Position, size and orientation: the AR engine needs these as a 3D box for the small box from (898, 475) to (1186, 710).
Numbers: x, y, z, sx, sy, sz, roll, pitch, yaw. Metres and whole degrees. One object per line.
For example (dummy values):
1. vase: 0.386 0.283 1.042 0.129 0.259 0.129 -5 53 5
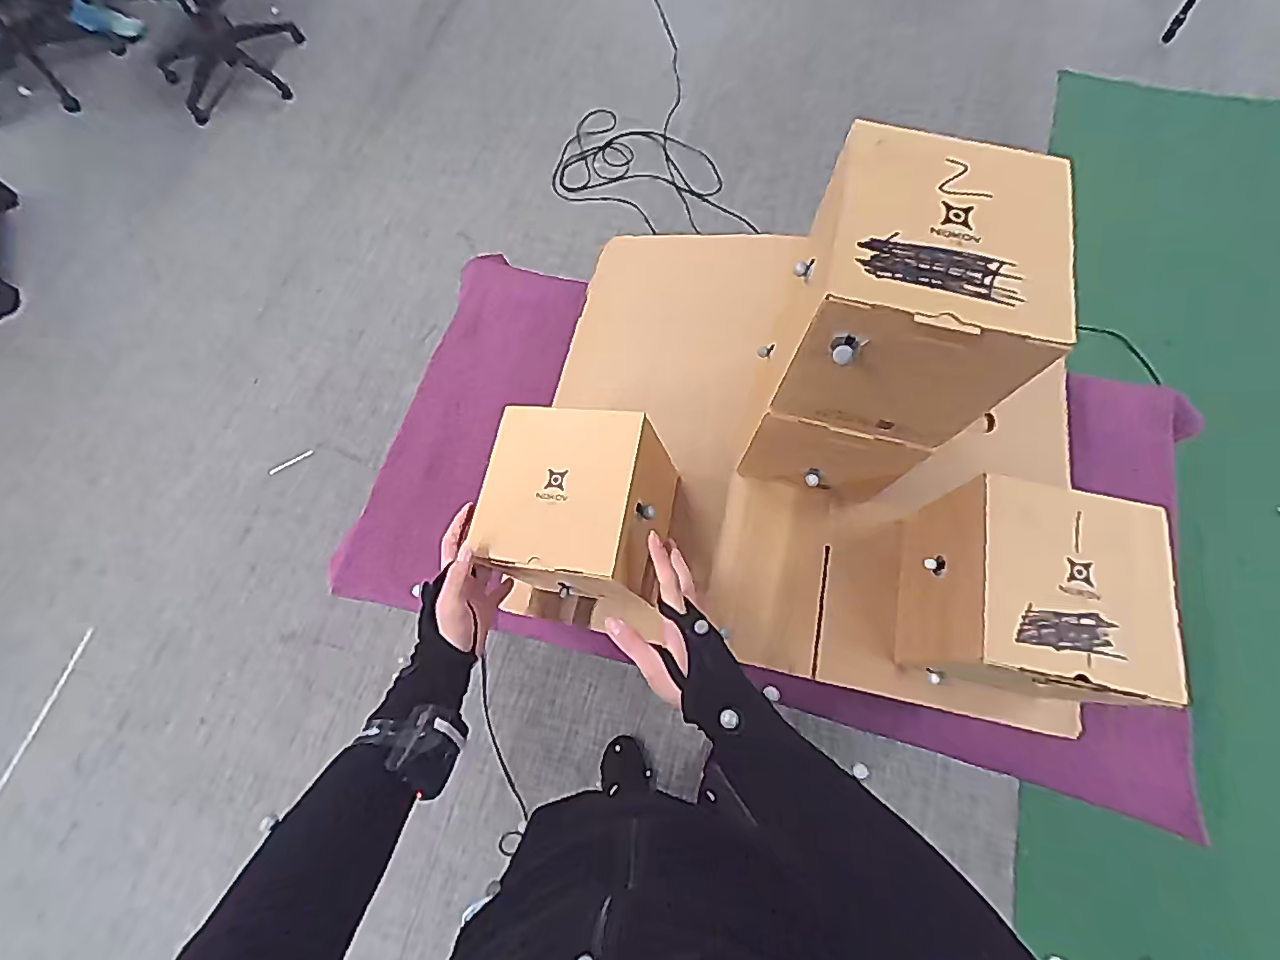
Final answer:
1. small box: 0.381 0.118 0.546 0.168 0.176 0.179 12 70 4

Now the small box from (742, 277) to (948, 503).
1. small box: 0.222 -0.093 0.617 0.168 0.176 0.179 13 71 4
